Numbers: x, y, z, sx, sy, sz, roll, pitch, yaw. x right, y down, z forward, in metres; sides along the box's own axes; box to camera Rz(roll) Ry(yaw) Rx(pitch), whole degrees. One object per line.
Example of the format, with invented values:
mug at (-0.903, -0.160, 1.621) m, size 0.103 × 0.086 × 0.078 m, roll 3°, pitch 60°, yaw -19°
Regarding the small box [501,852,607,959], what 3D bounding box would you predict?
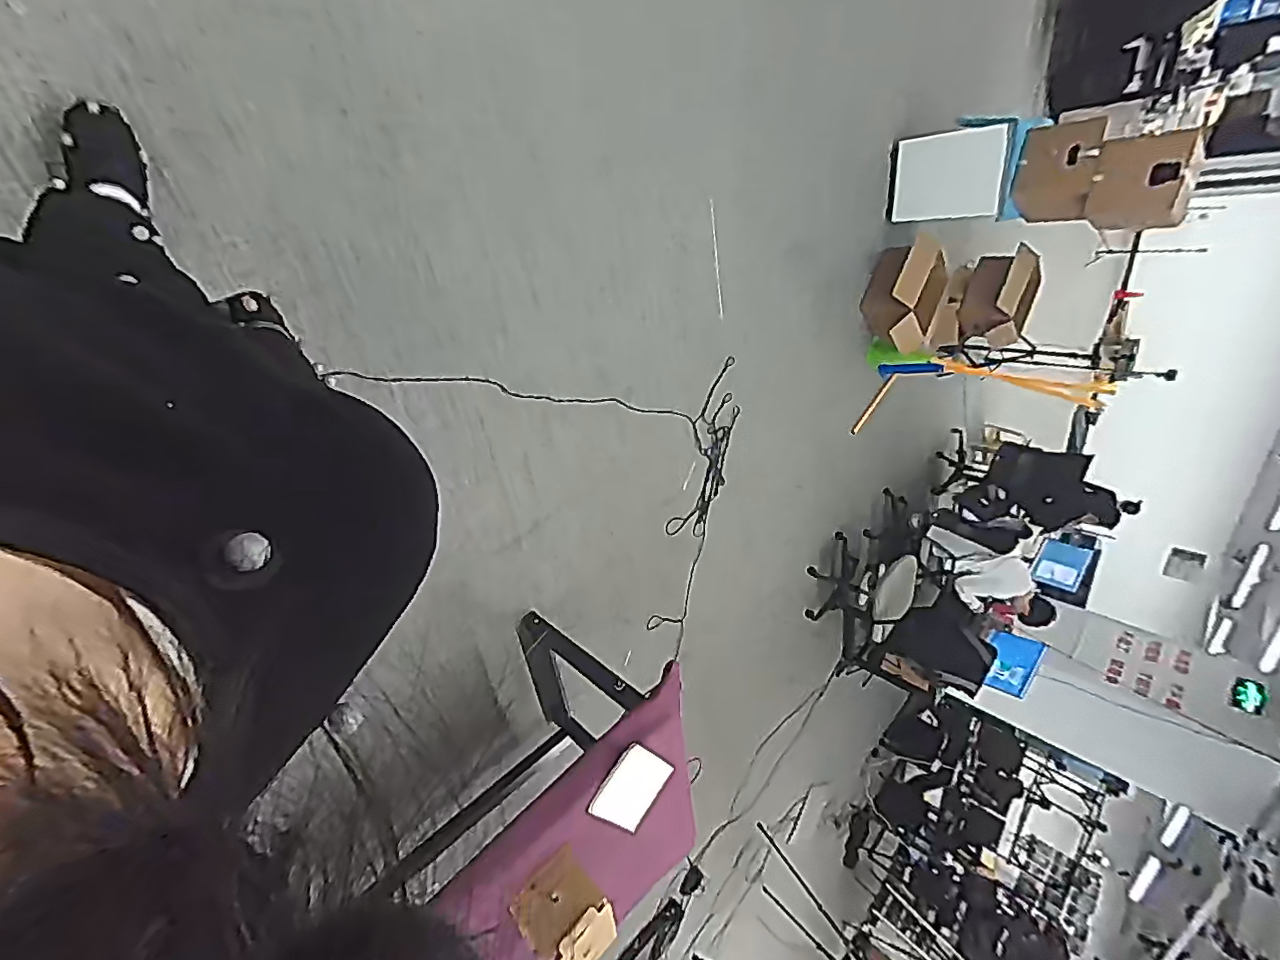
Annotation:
small box at (-0.201, 1.016, 1.257) m, size 0.168 × 0.176 × 0.179 m, roll -28°, pitch 123°, yaw -35°
